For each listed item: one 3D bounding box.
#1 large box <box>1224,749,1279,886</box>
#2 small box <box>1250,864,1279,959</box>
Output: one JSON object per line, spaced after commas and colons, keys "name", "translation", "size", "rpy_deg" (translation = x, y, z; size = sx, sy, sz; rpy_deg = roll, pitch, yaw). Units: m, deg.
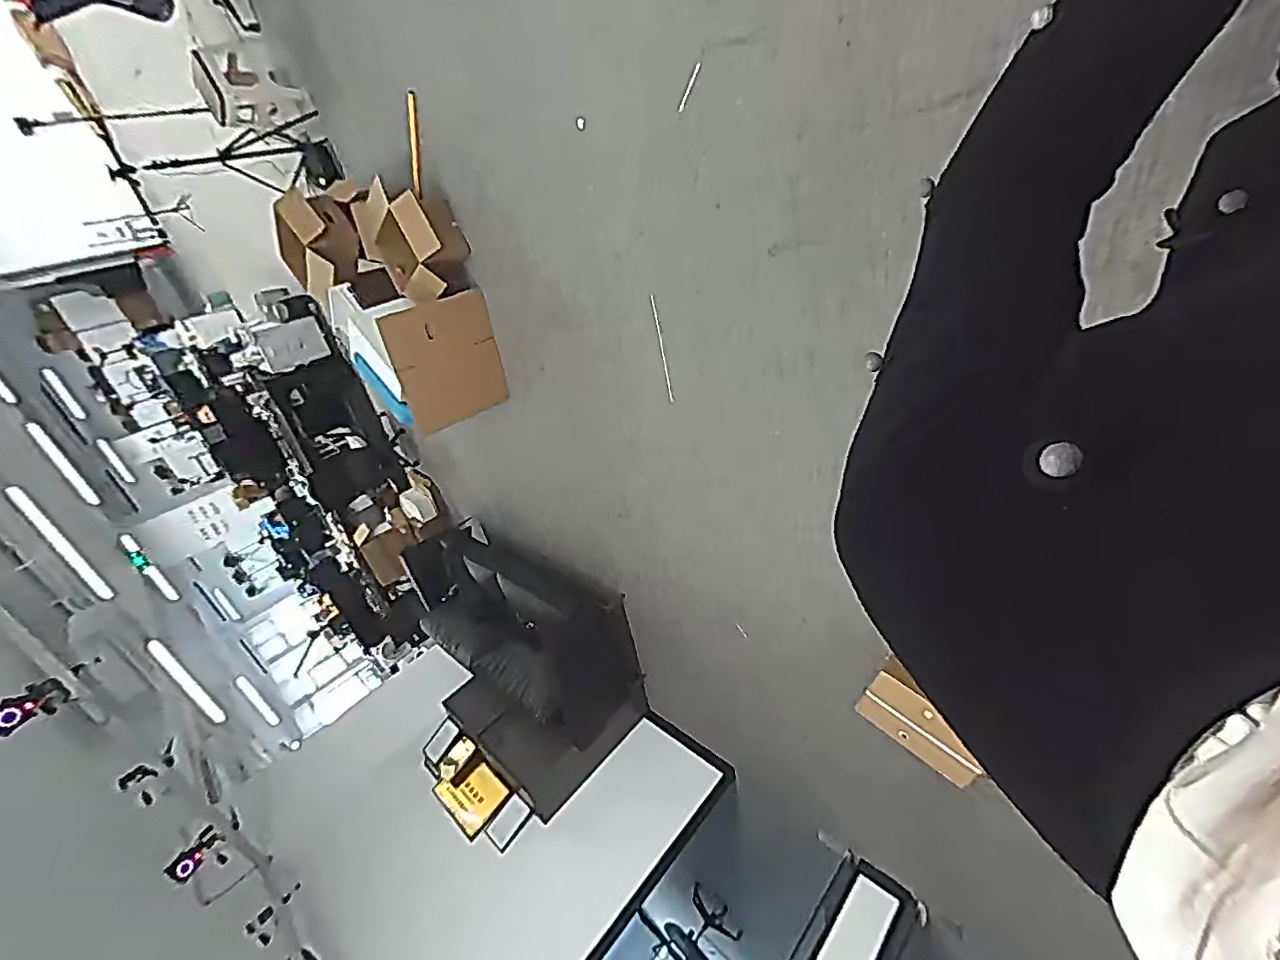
{"name": "large box", "translation": [1.713, 0.876, 1.258], "size": [0.320, 0.320, 0.408], "rpy_deg": [56, 144, -3]}
{"name": "small box", "translation": [1.492, 0.985, 1.175], "size": [0.168, 0.176, 0.179], "rpy_deg": [58, 145, -2]}
